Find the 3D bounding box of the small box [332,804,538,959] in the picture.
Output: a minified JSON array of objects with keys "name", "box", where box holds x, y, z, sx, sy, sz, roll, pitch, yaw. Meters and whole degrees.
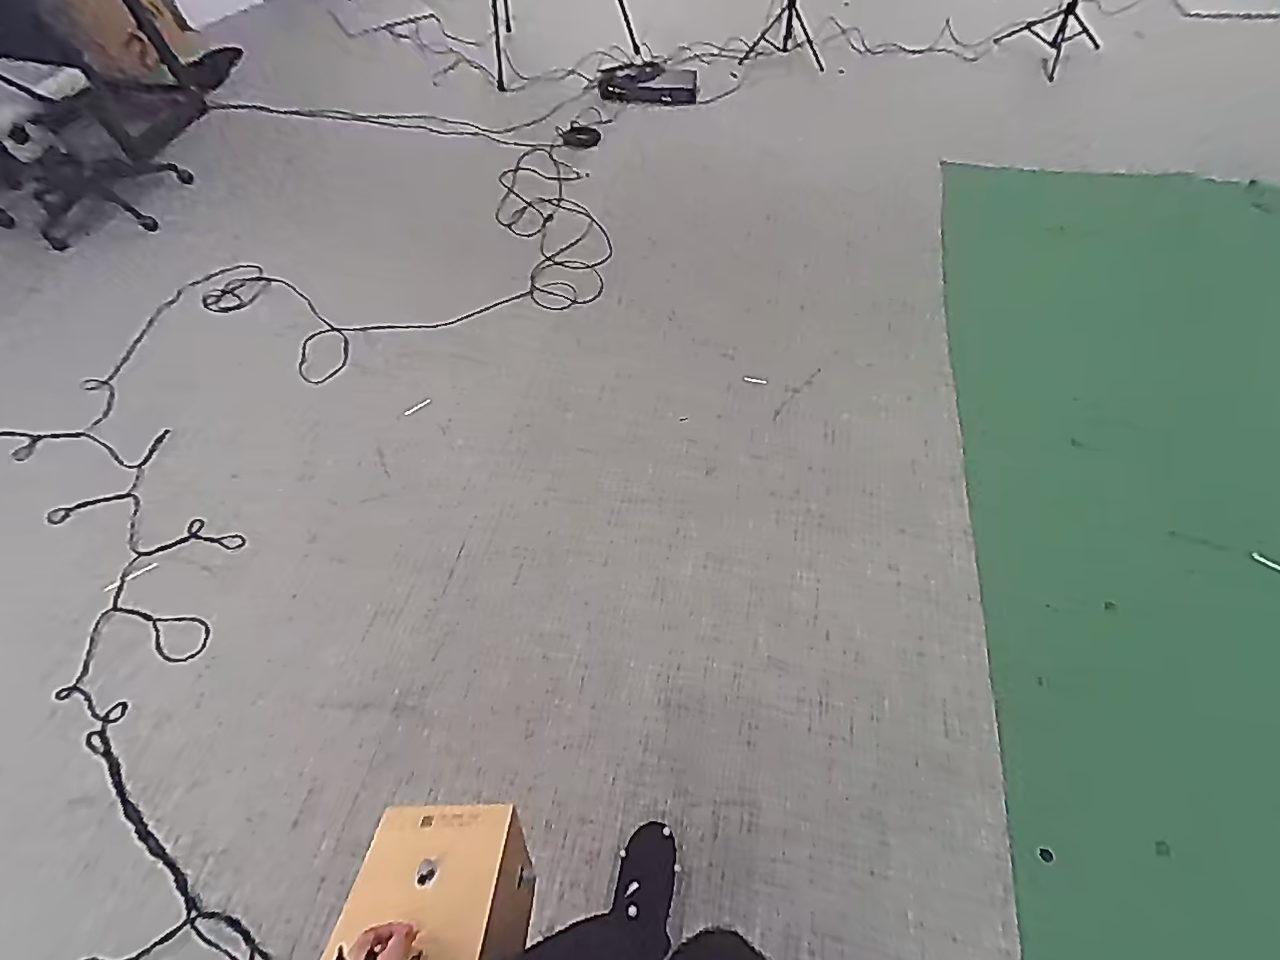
[{"name":"small box","box":[-0.226,0.515,0.647,0.168,0.179,0.176,-3,28,3]}]
